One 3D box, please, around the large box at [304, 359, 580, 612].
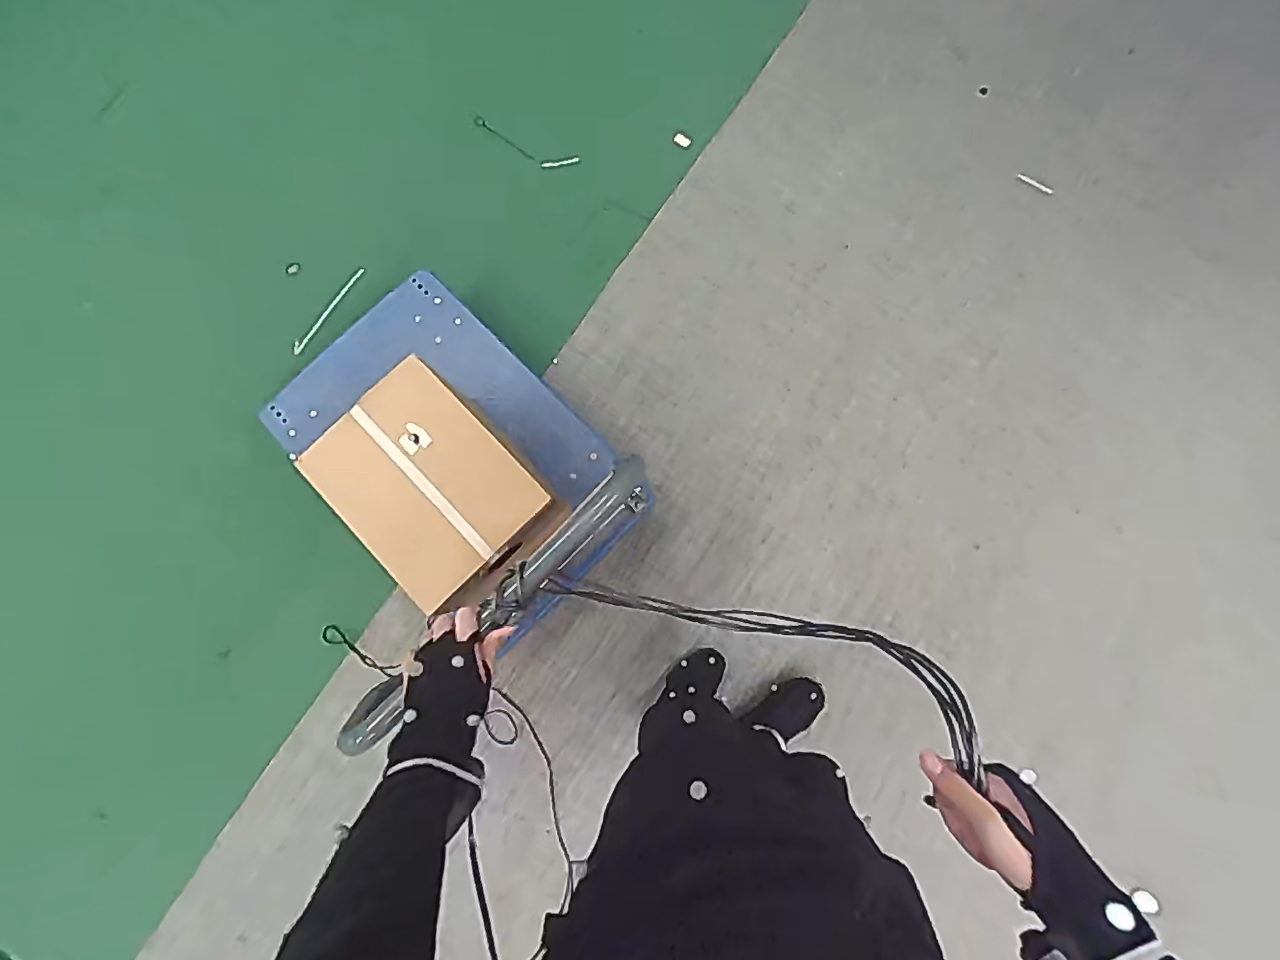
[{"bbox_3d":[-0.393,0.024,1.170,0.320,0.320,0.408,-44,82,-4],"label":"large box"}]
